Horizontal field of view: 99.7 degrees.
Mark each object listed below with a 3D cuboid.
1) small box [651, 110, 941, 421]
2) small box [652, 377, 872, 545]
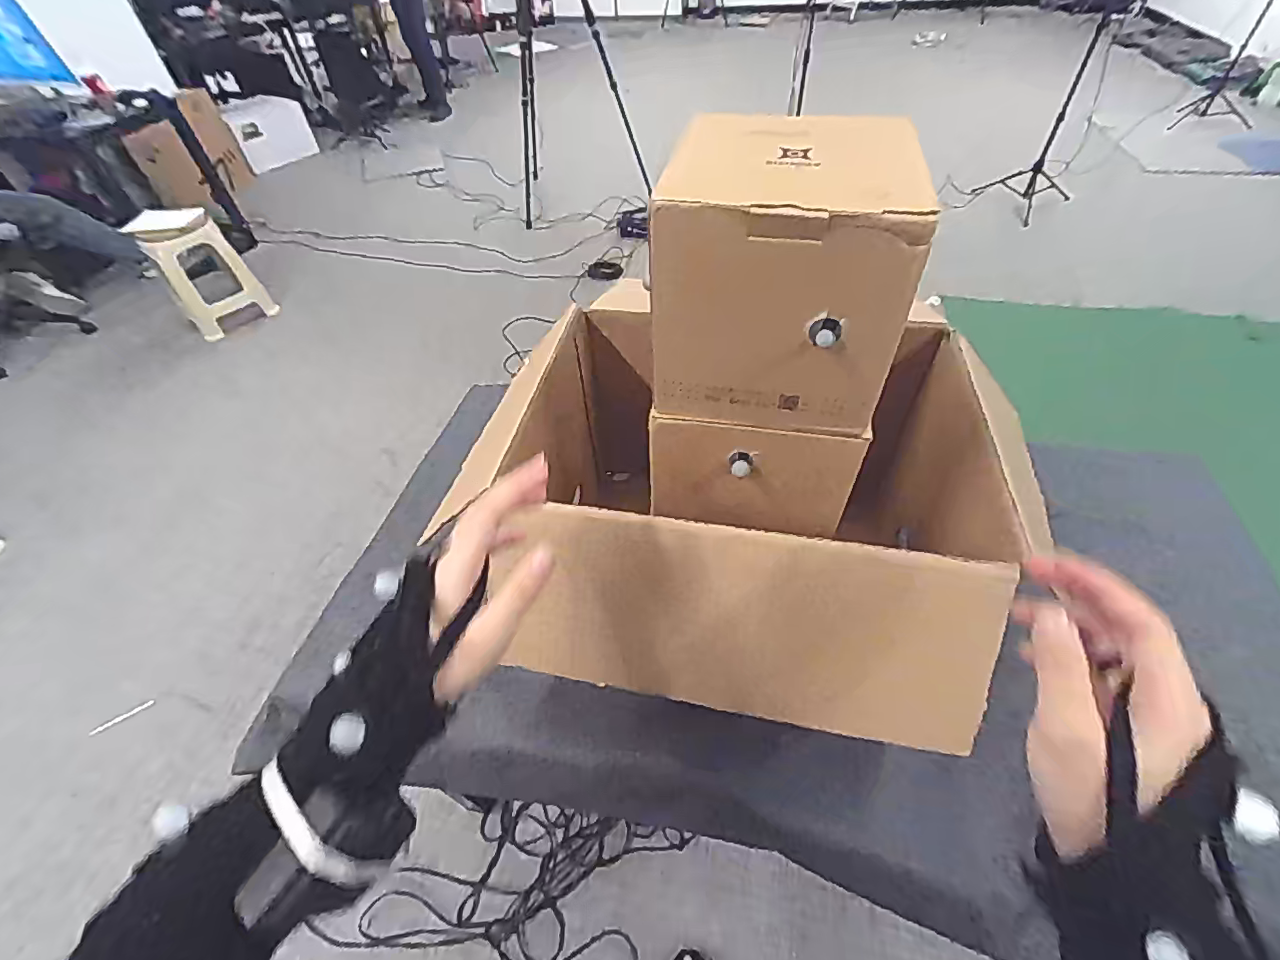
[{"bbox_3d":[0.108,-0.167,0.422,0.168,0.176,0.179,9,48,9],"label":"small box"},{"bbox_3d":[0.112,-0.053,0.538,0.179,0.176,0.168,7,49,9],"label":"small box"}]
